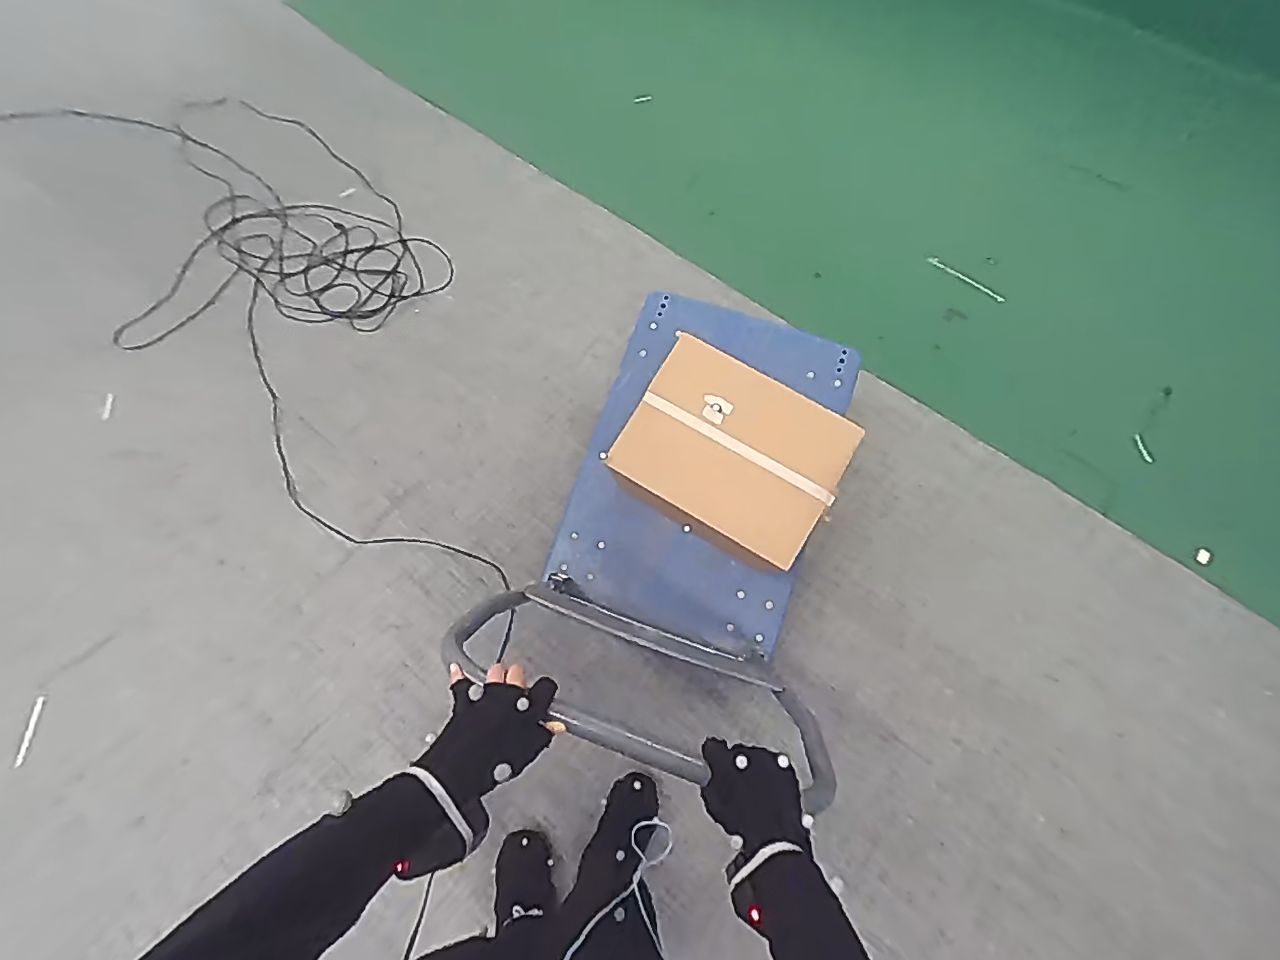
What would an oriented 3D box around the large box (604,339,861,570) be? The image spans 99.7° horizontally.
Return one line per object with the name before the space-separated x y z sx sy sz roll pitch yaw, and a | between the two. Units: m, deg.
large box | 0.187 -0.034 1.181 0.408 0.320 0.320 31 83 8
